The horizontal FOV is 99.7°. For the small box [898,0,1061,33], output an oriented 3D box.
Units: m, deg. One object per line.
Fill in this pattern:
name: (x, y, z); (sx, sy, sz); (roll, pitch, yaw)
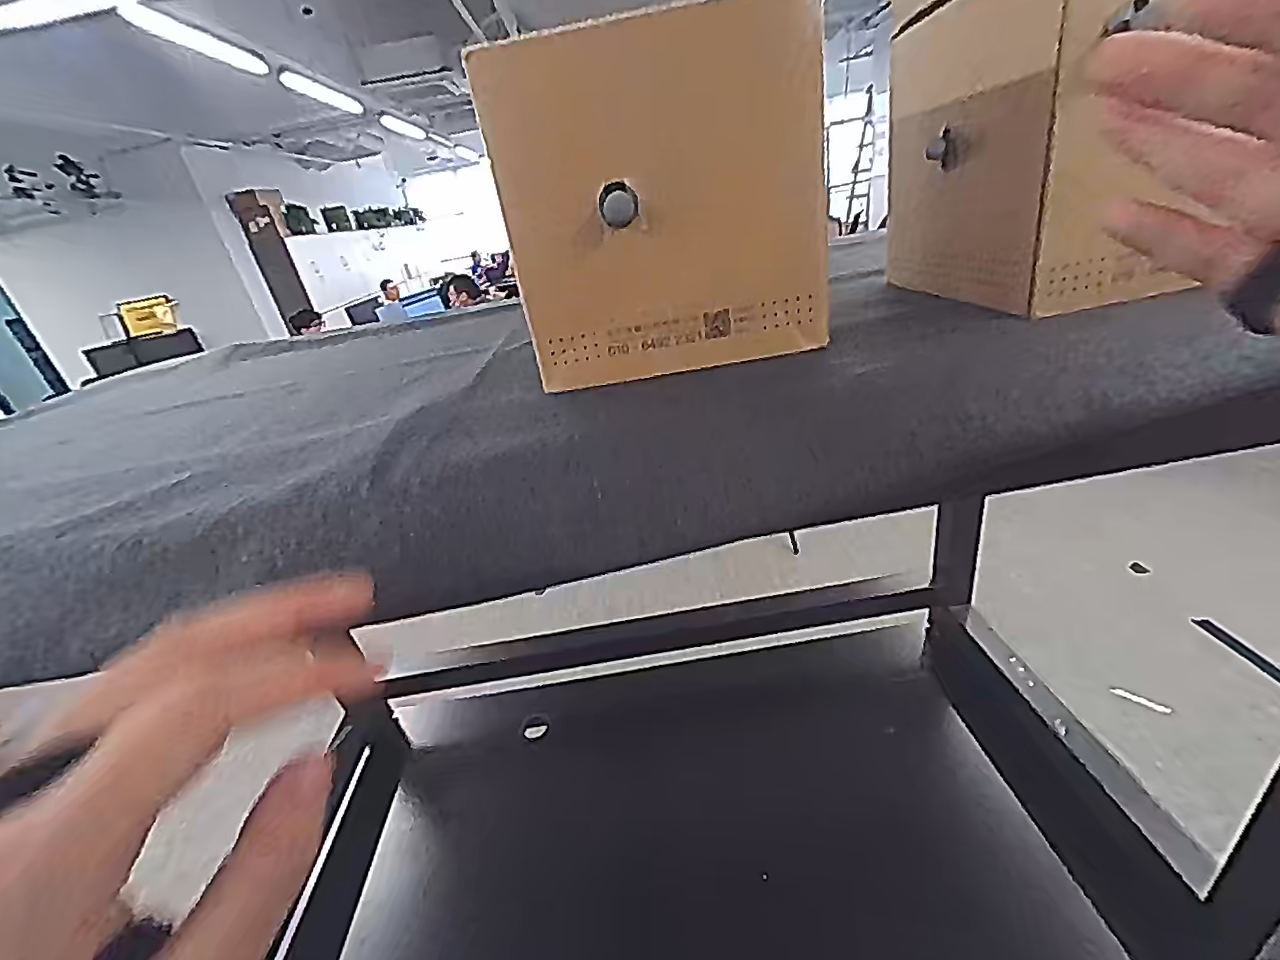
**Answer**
small box: (0.240, -0.345, 0.251); (0.179, 0.176, 0.168); (-11, 24, 3)

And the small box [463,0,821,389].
small box: (0.012, -0.165, 0.351); (0.168, 0.176, 0.179); (-9, 25, 4)
